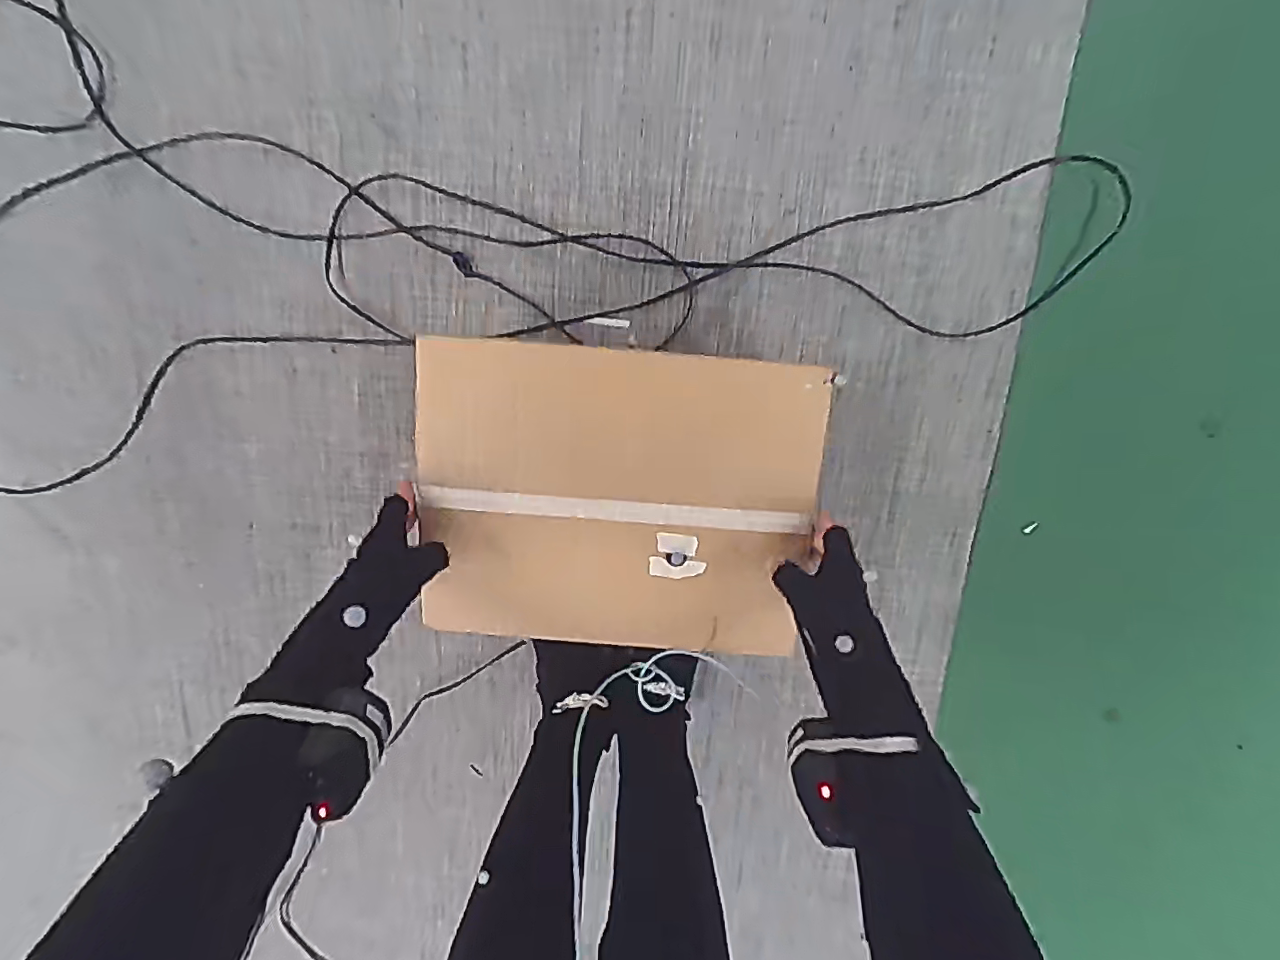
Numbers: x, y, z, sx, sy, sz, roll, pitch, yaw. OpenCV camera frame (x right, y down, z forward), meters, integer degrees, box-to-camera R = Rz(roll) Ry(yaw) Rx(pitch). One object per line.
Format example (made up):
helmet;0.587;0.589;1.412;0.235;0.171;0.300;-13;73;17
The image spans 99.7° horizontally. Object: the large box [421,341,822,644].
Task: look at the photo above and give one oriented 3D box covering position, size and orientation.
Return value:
large box;-0.026;-0.010;0.708;0.408;0.320;0.320;4;104;0
